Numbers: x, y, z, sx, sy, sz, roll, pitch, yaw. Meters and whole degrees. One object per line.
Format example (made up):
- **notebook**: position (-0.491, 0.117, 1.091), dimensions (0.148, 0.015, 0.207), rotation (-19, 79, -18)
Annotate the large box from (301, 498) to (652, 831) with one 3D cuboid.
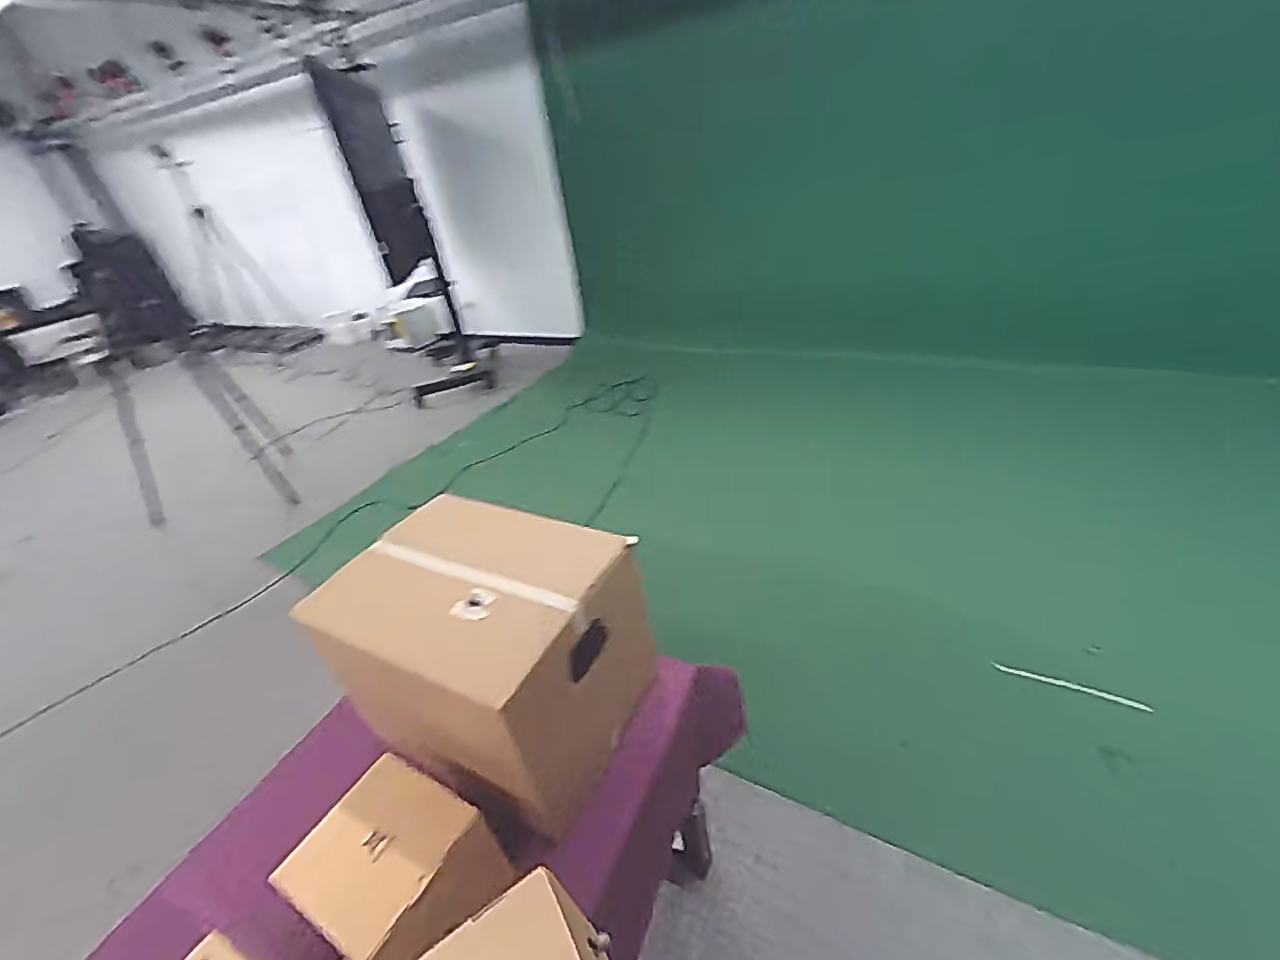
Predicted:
- **large box**: position (-0.233, 0.268, 0.879), dimensions (0.408, 0.320, 0.320), rotation (11, 37, 26)
